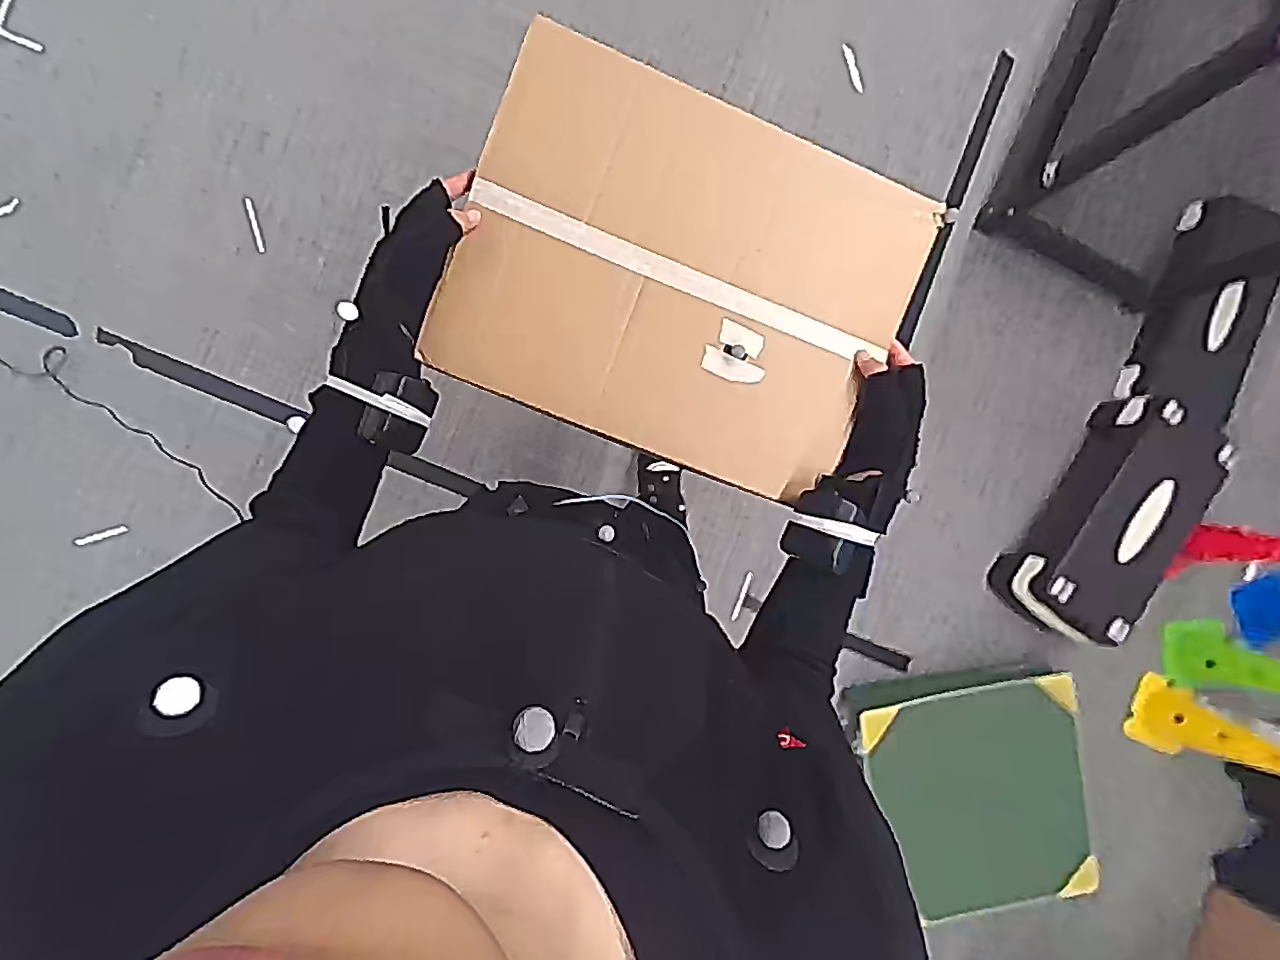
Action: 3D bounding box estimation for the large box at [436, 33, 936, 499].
[{"bbox_3d":[0.035,-0.200,0.651,0.408,0.320,0.320,21,94,-7],"label":"large box"}]
